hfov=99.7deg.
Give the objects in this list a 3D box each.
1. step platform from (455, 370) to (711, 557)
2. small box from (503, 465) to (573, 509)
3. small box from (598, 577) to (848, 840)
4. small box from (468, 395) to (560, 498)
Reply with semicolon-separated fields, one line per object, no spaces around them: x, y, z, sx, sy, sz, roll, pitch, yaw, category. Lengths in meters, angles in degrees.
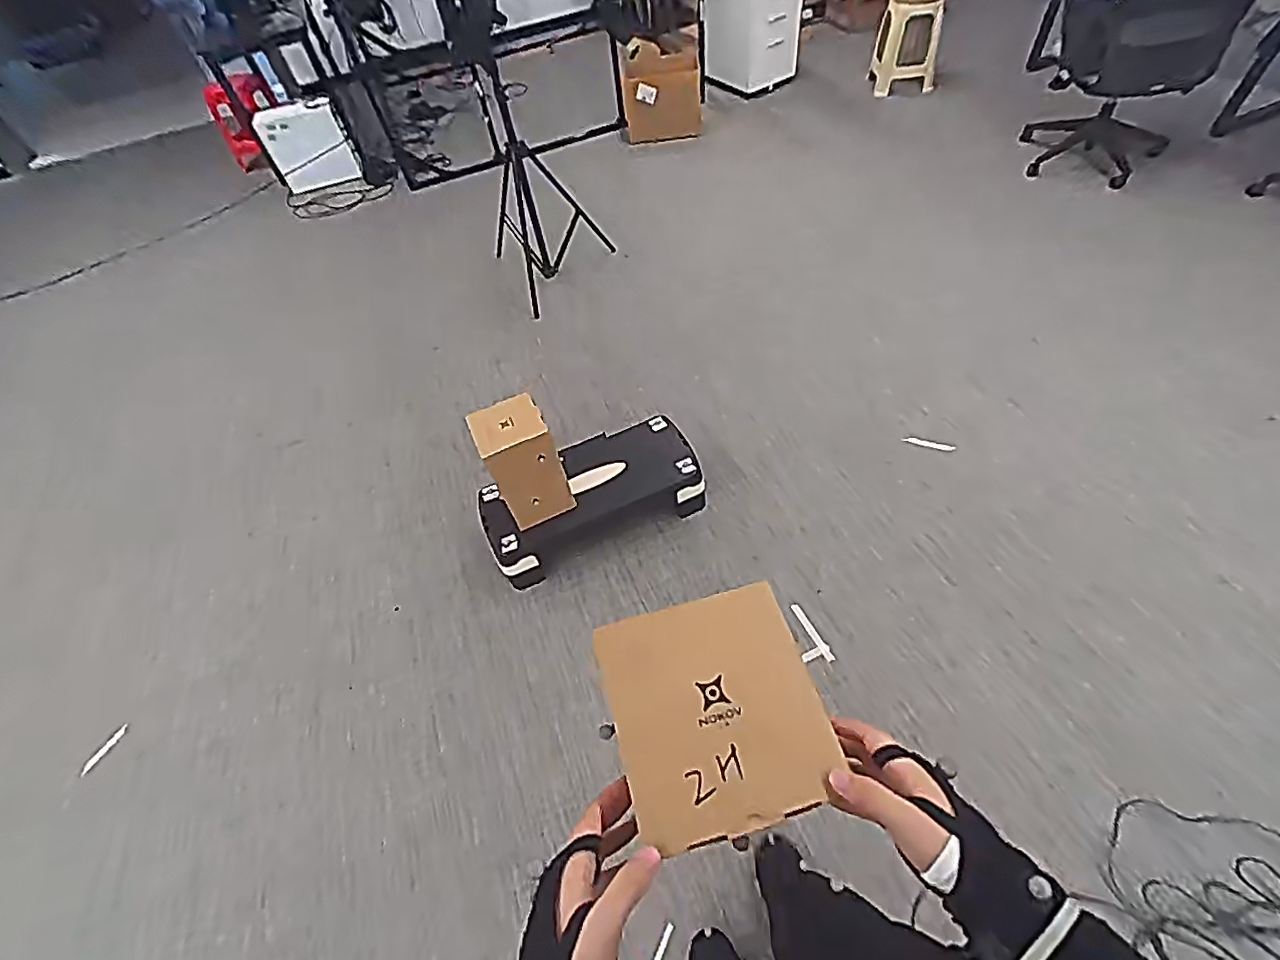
-0.148;-0.048;1.520;0.684;0.204;0.286;-23;54;-10;step platform
-0.303;0.010;1.544;0.179;0.176;0.168;-25;55;-10;small box
0.062;0.221;0.514;0.168;0.176;0.179;-14;57;-6;small box
-0.321;-0.085;1.412;0.179;0.176;0.168;-25;54;-11;small box
